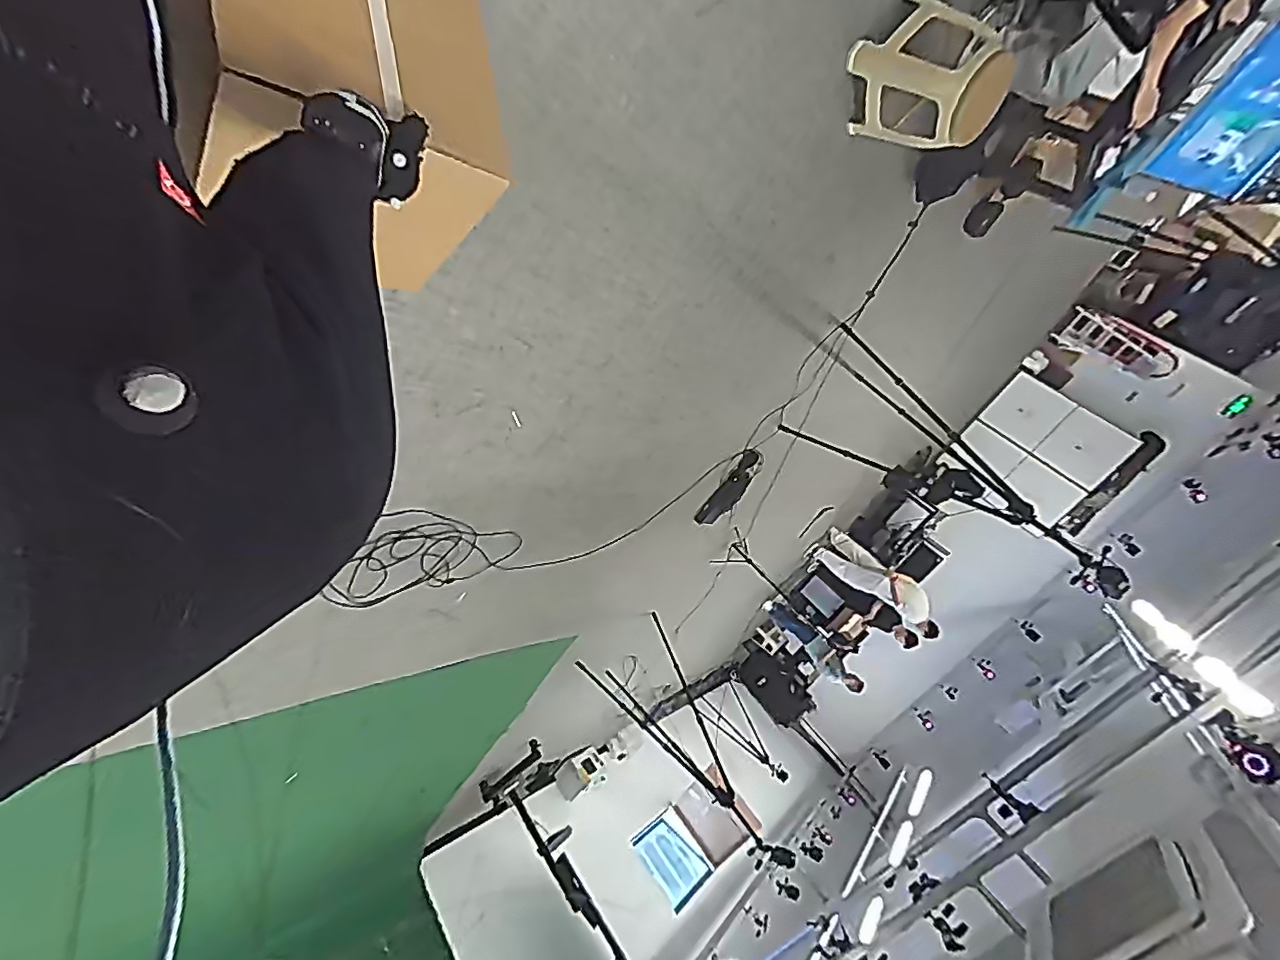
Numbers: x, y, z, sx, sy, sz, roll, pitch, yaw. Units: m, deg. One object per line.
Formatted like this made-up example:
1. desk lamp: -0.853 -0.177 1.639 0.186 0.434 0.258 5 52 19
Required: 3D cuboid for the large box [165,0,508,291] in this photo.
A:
1. large box: -0.427 -0.535 0.747 0.320 0.408 0.320 -19 170 43
